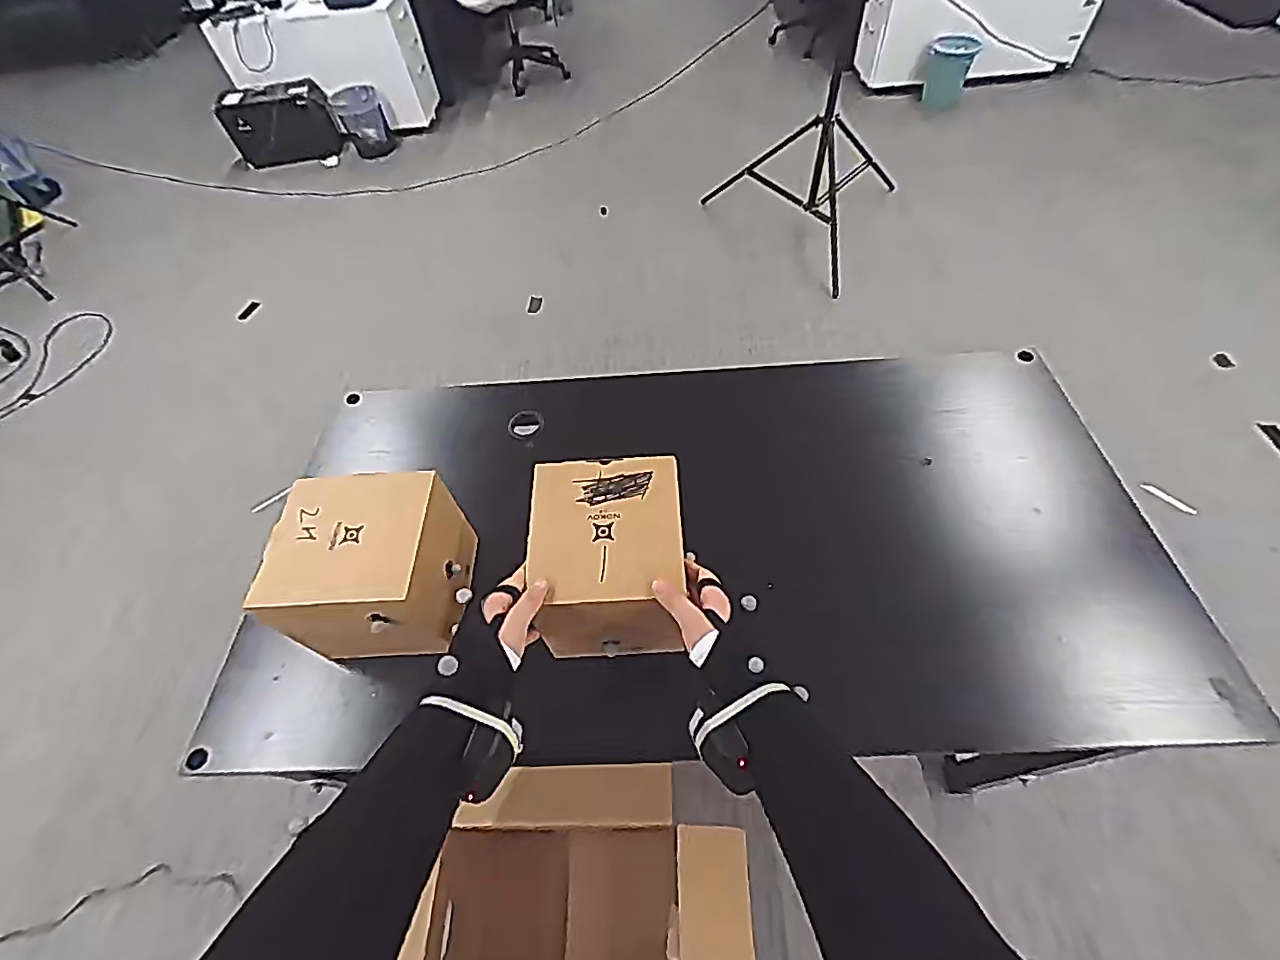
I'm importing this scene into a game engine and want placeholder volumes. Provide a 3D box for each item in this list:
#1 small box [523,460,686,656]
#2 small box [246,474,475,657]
[{"bbox_3d":[-0.034,0.098,0.651,0.168,0.176,0.179,-4,55,2],"label":"small box"},{"bbox_3d":[-0.319,0.110,0.665,0.179,0.176,0.168,-4,54,2],"label":"small box"}]
